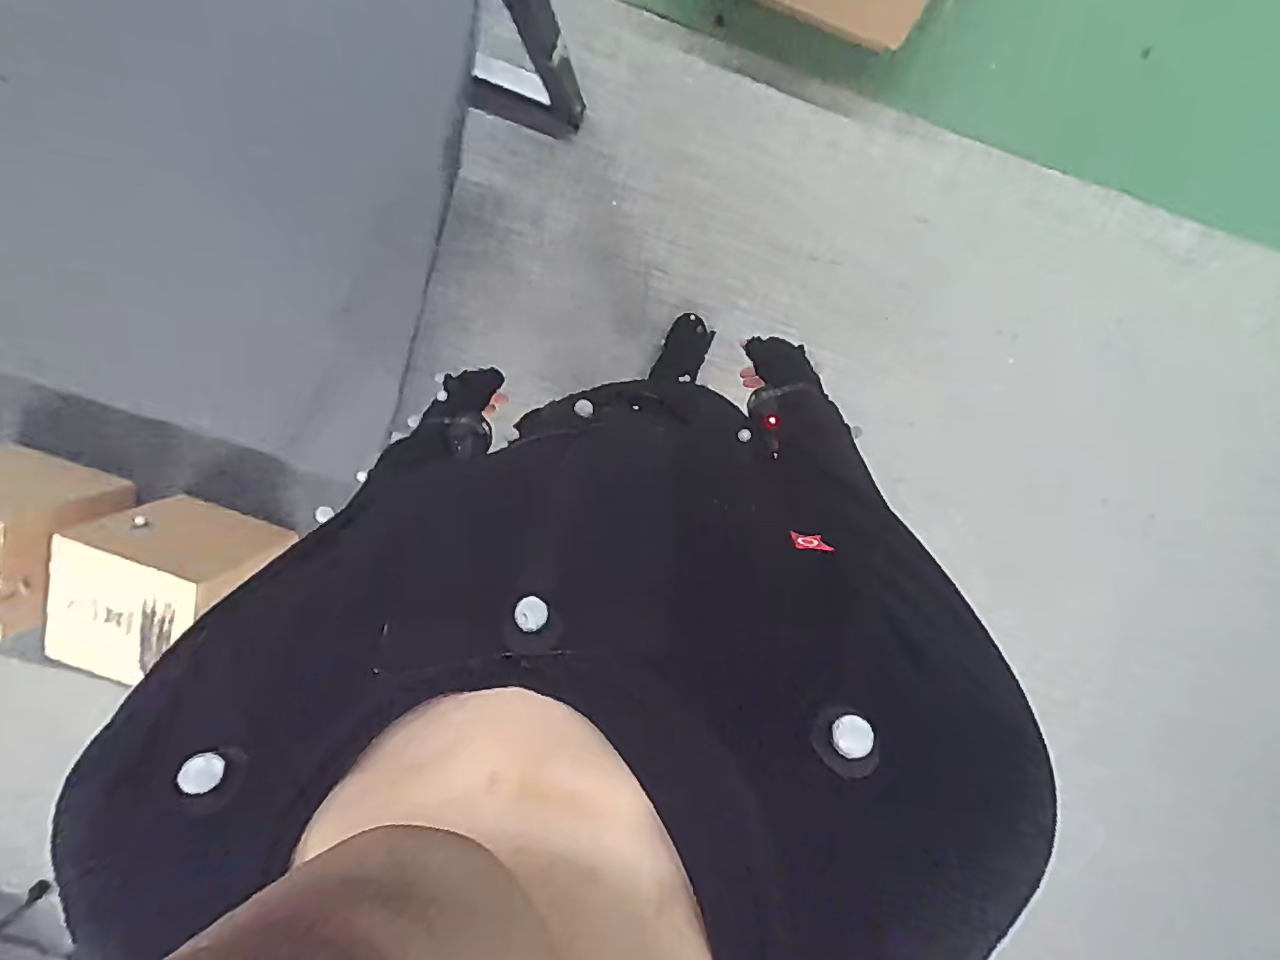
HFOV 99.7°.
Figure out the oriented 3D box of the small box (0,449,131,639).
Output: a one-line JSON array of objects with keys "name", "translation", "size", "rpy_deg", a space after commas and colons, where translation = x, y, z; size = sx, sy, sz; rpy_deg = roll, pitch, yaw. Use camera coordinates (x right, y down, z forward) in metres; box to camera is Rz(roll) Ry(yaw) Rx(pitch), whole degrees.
[{"name": "small box", "translation": [-0.816, 0.070, 0.696], "size": [0.179, 0.176, 0.168], "rpy_deg": [18, 105, -3]}]
